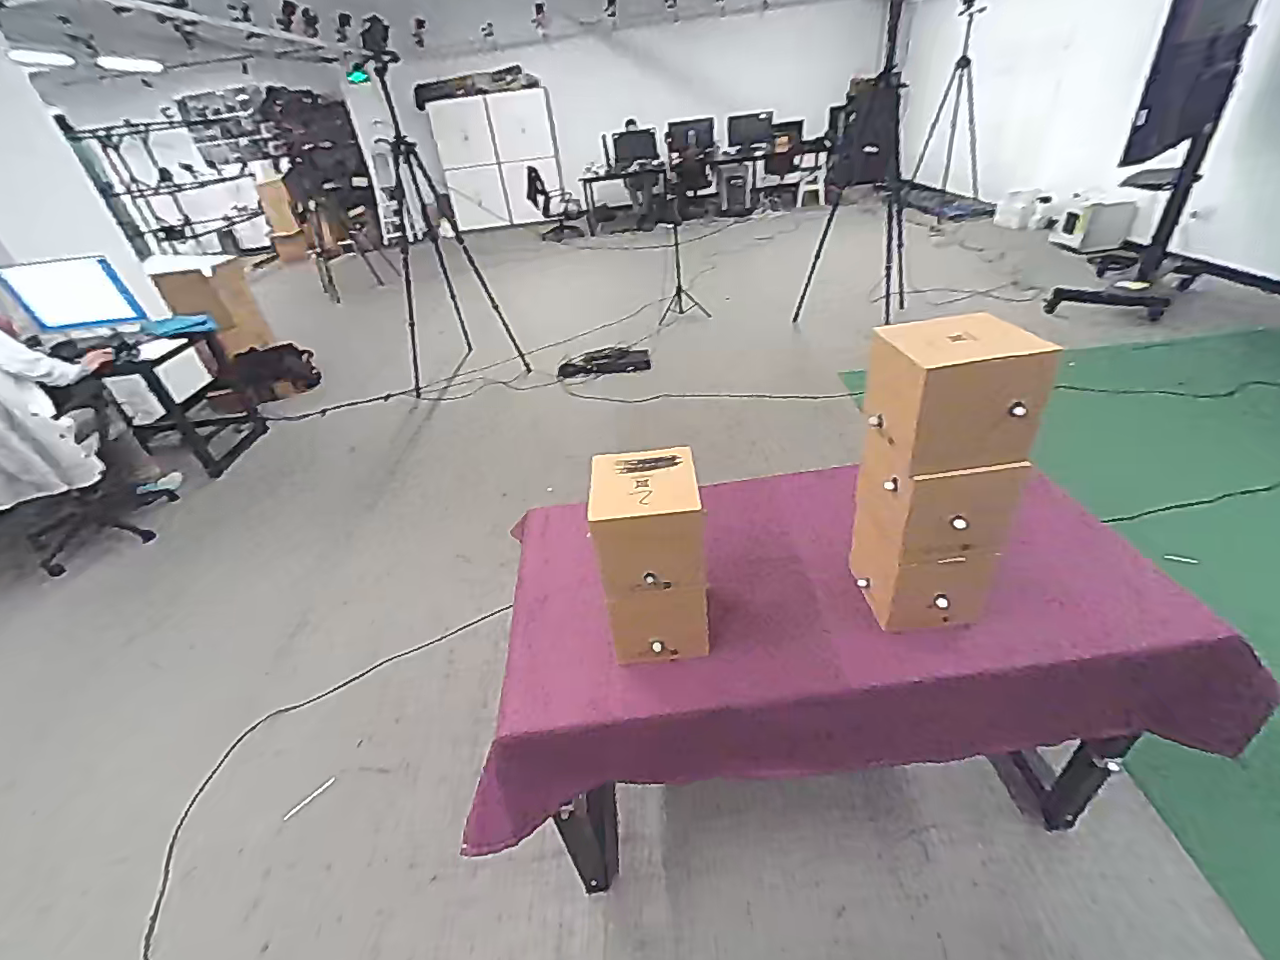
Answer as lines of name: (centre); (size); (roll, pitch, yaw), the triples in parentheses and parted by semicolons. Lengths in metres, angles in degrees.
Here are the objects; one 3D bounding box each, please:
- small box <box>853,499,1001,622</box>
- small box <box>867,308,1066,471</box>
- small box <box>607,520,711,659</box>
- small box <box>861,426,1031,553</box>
small box: (0.498, 0.137, 0.968); (0.168, 0.176, 0.179); (-7, 36, 1)
small box: (0.452, -0.131, 0.783); (0.179, 0.176, 0.168); (-8, 34, 2)
small box: (0.035, 0.196, 0.977); (0.168, 0.176, 0.179); (-6, 36, 3)
small box: (0.475, 0.004, 0.873); (0.168, 0.176, 0.179); (-7, 35, 1)
